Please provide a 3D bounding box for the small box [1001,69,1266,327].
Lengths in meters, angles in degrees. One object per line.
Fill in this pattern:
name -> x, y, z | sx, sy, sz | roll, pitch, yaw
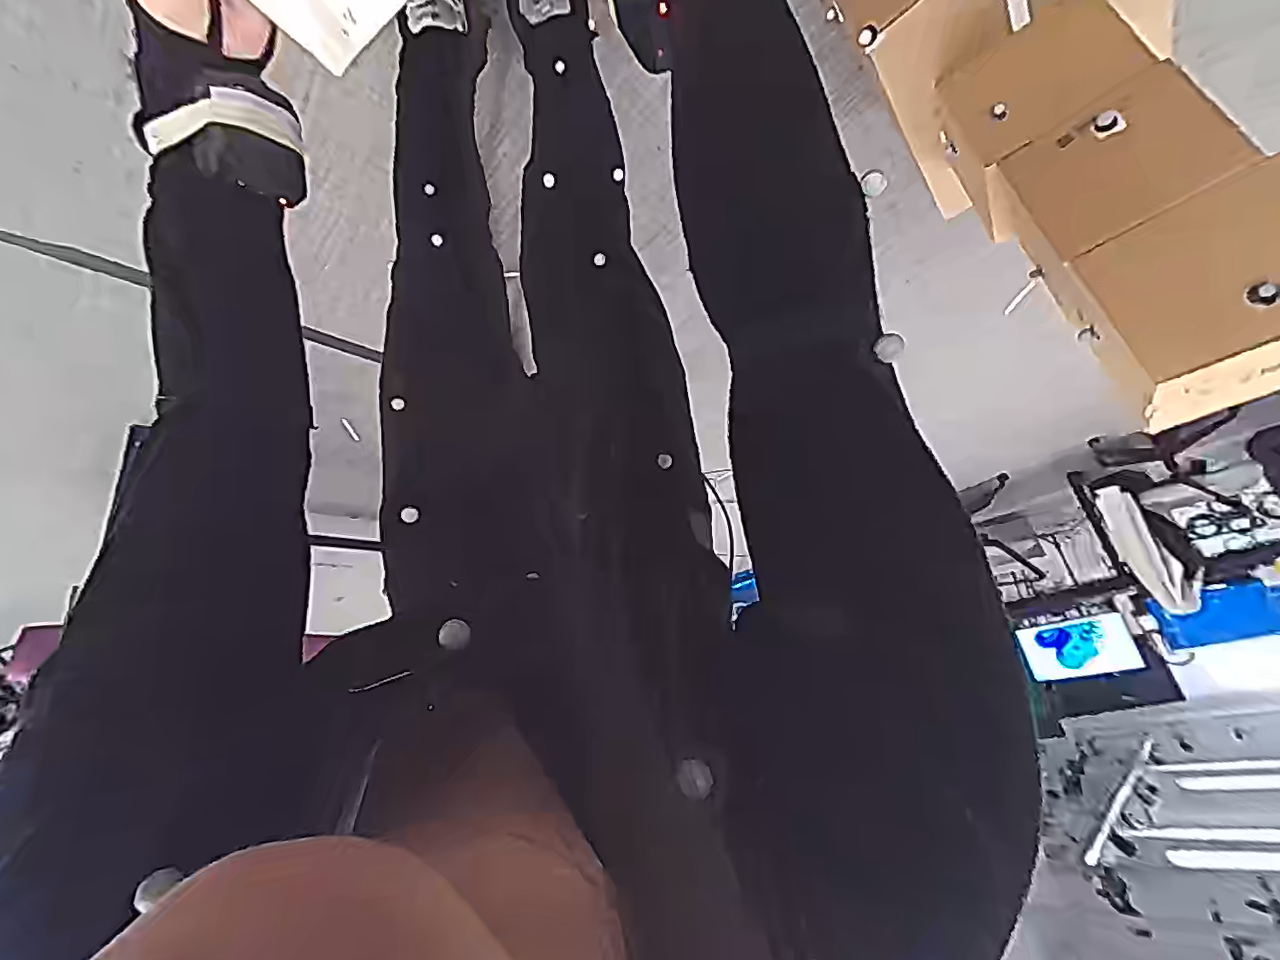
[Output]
small box -> 0.562, -0.321, 0.637 | 0.168, 0.176, 0.179 | -28, 149, 34

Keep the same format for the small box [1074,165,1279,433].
small box -> 0.595, -0.178, 0.561 | 0.179, 0.176, 0.168 | -27, 151, 33
